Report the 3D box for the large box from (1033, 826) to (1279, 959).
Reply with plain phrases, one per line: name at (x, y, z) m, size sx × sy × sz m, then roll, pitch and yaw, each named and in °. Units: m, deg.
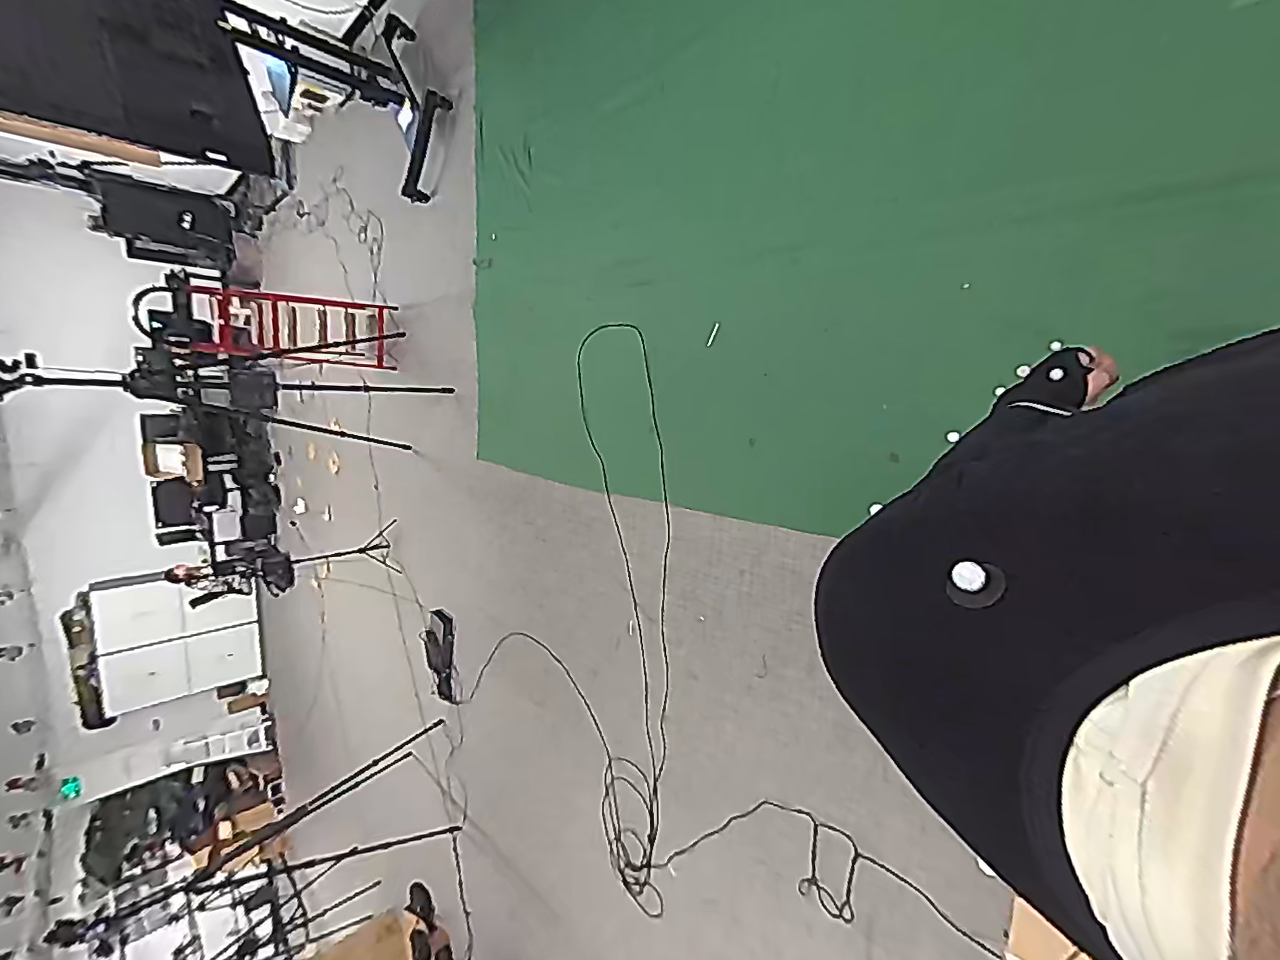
large box at (1.130, 1.069, 1.184) m, size 0.408 × 0.320 × 0.320 m, roll 7°, pitch 100°, yaw 44°
